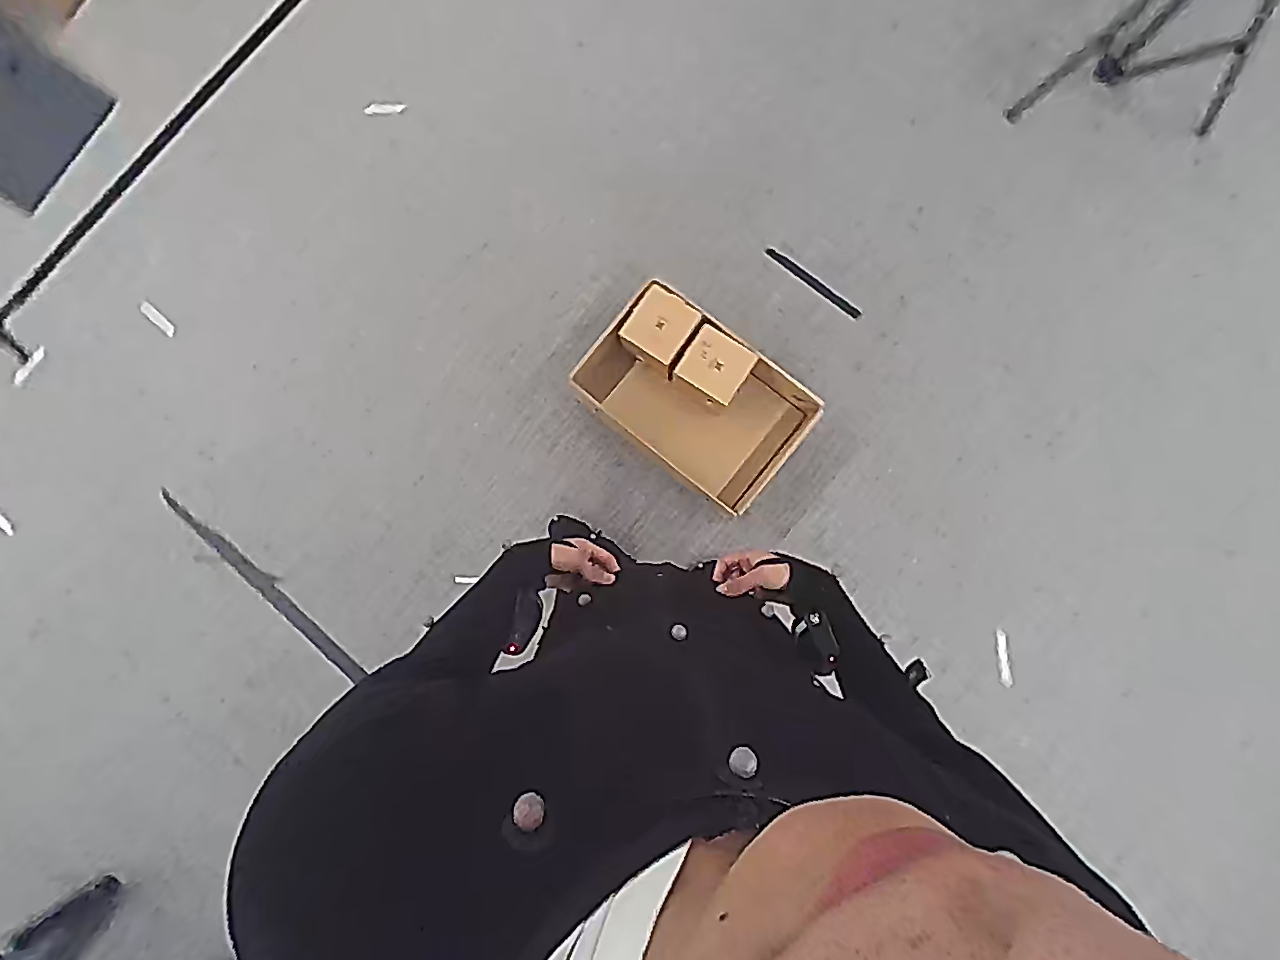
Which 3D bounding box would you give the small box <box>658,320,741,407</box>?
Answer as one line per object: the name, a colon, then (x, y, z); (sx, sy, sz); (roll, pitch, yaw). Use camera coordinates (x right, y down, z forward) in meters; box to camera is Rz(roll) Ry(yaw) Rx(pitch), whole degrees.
small box: (0.166, -0.322, 1.541); (0.179, 0.176, 0.168); (28, 88, 4)
